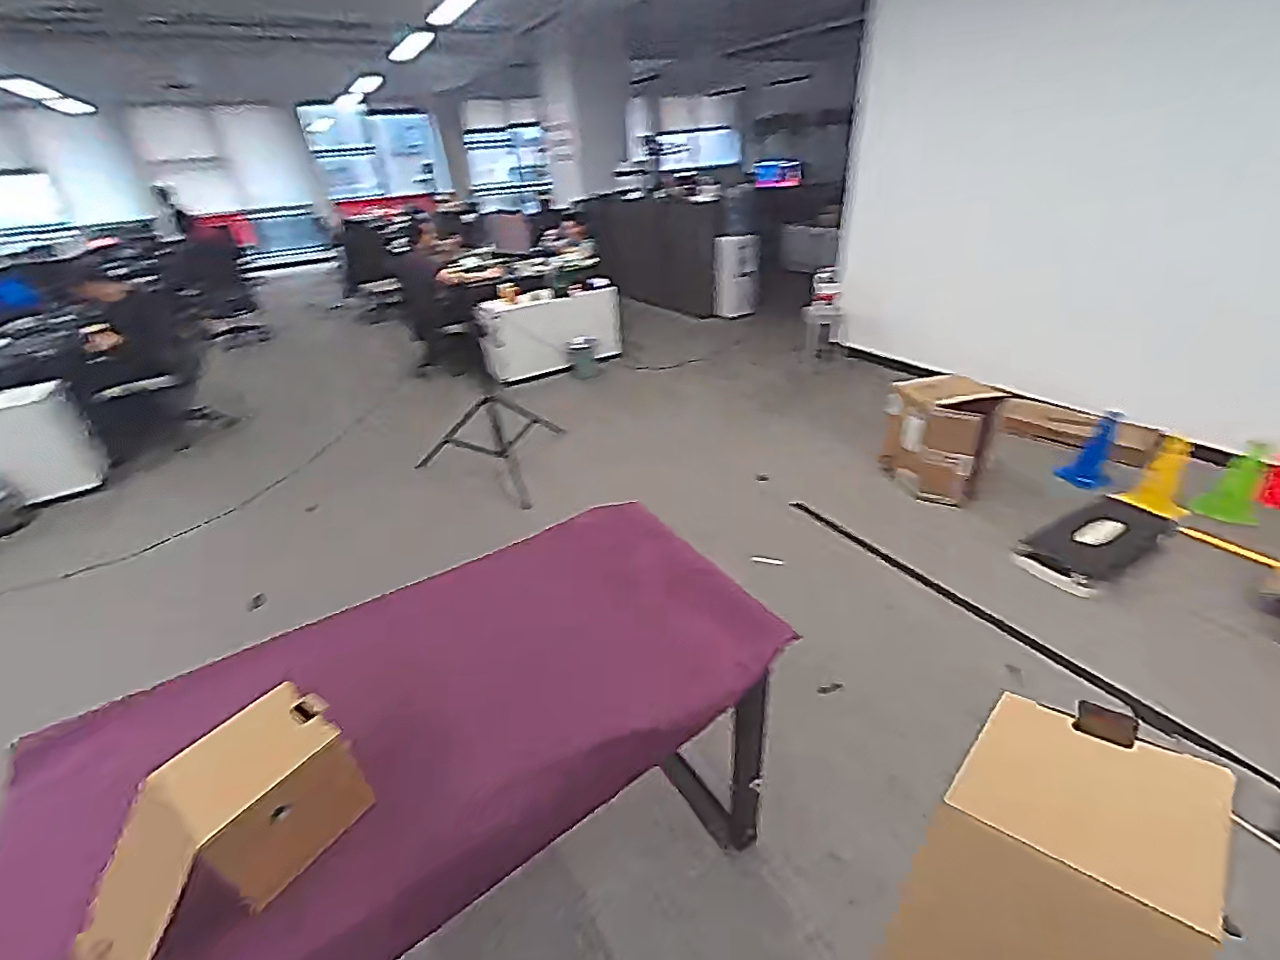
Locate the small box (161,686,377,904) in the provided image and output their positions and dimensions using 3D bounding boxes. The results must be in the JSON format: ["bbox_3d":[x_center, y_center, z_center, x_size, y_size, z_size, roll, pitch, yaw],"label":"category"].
[{"bbox_3d":[-0.514,0.442,0.769,0.168,0.176,0.179,17,36,32],"label":"small box"}]
